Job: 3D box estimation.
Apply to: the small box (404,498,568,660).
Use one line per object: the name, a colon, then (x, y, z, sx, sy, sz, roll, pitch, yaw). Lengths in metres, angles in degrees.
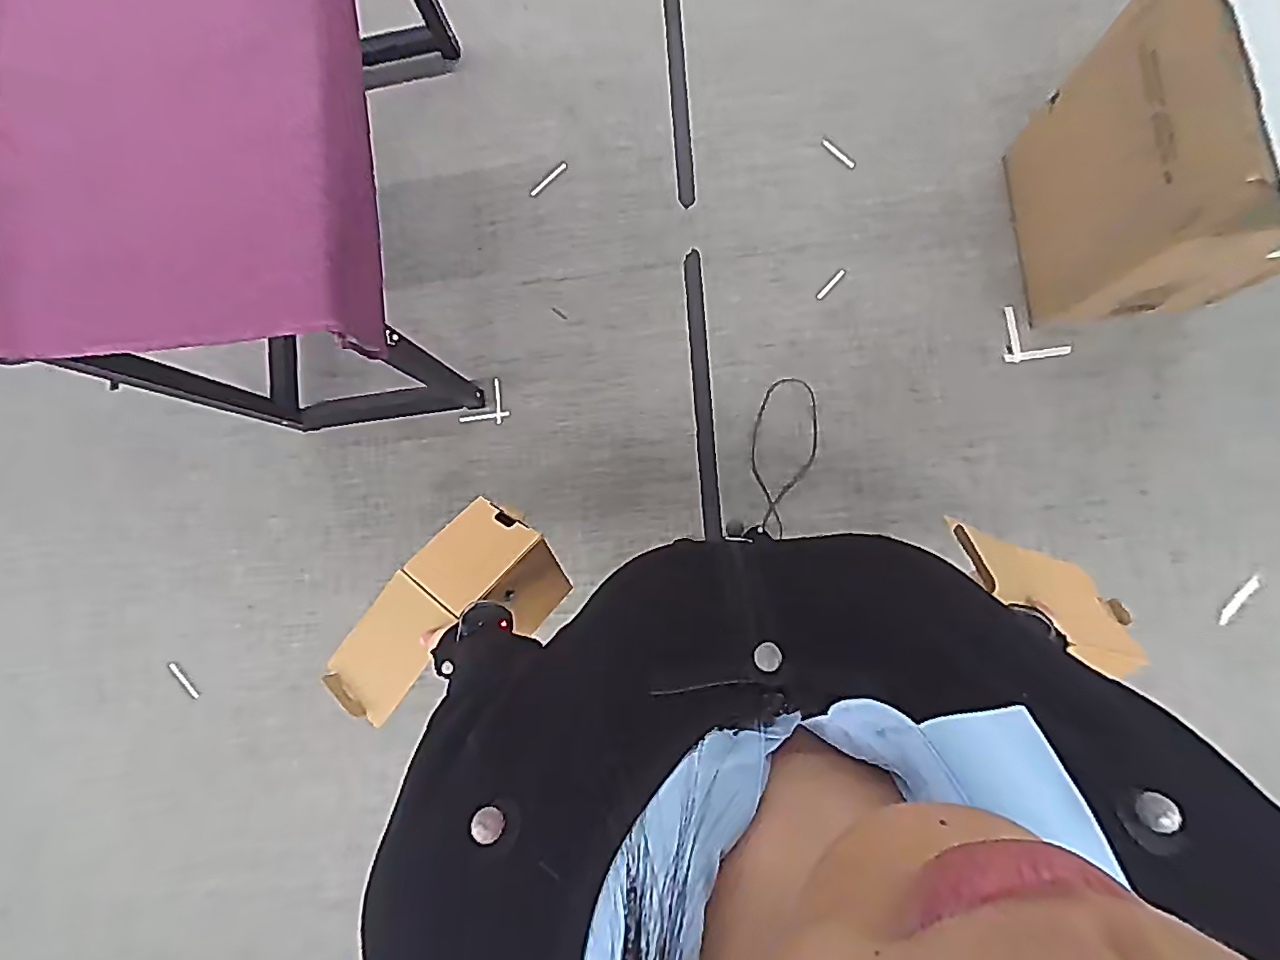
small box: (-0.248, 0.168, 0.911, 0.168, 0.176, 0.179, 26, 60, 33)
